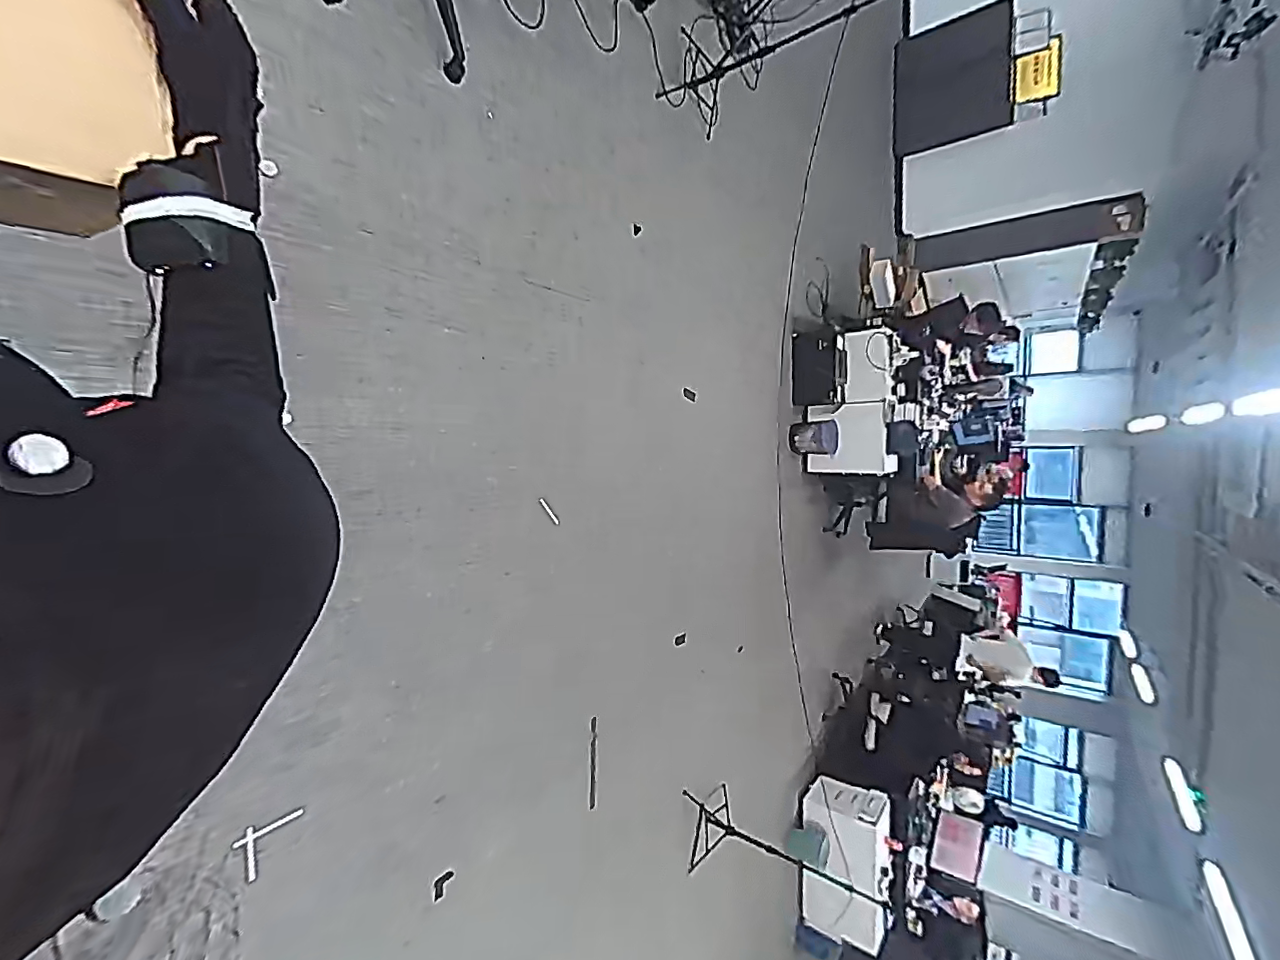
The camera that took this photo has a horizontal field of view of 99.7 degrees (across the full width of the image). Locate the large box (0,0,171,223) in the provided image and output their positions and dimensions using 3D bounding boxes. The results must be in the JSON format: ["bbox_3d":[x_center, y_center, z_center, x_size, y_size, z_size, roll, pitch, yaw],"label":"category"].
[{"bbox_3d":[-0.588,-0.374,0.312,0.408,0.320,0.320,-10,109,-54],"label":"large box"}]
